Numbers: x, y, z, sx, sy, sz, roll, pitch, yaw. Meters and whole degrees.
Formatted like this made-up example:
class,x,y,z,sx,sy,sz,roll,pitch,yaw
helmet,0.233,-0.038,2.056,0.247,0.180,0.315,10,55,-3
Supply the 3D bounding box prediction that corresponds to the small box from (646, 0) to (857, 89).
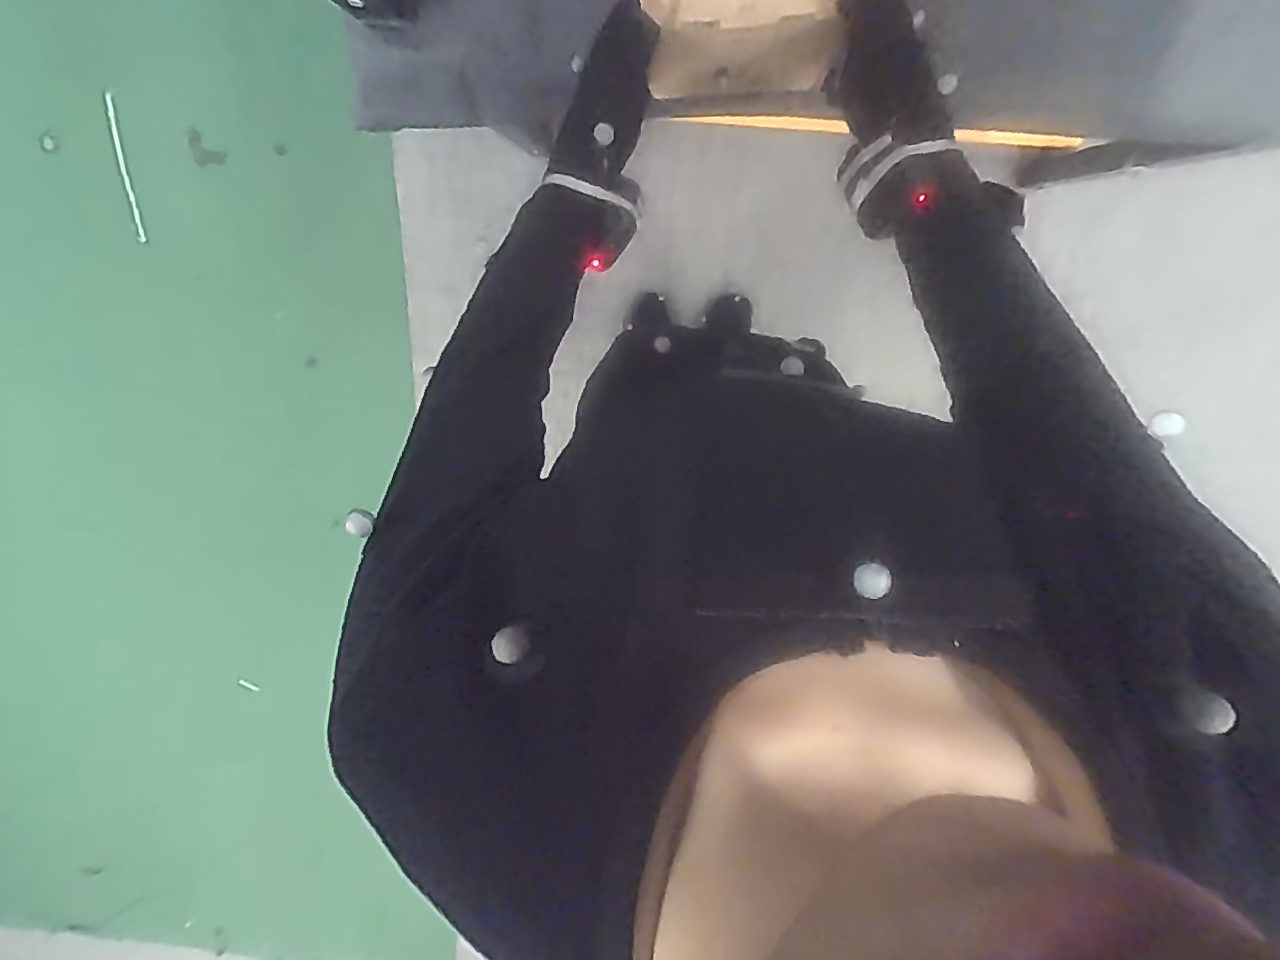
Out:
class,x,y,z,sx,sy,sz,roll,pitch,yaw
small box,0.090,-0.471,0.467,0.168,0.176,0.179,0,111,5
